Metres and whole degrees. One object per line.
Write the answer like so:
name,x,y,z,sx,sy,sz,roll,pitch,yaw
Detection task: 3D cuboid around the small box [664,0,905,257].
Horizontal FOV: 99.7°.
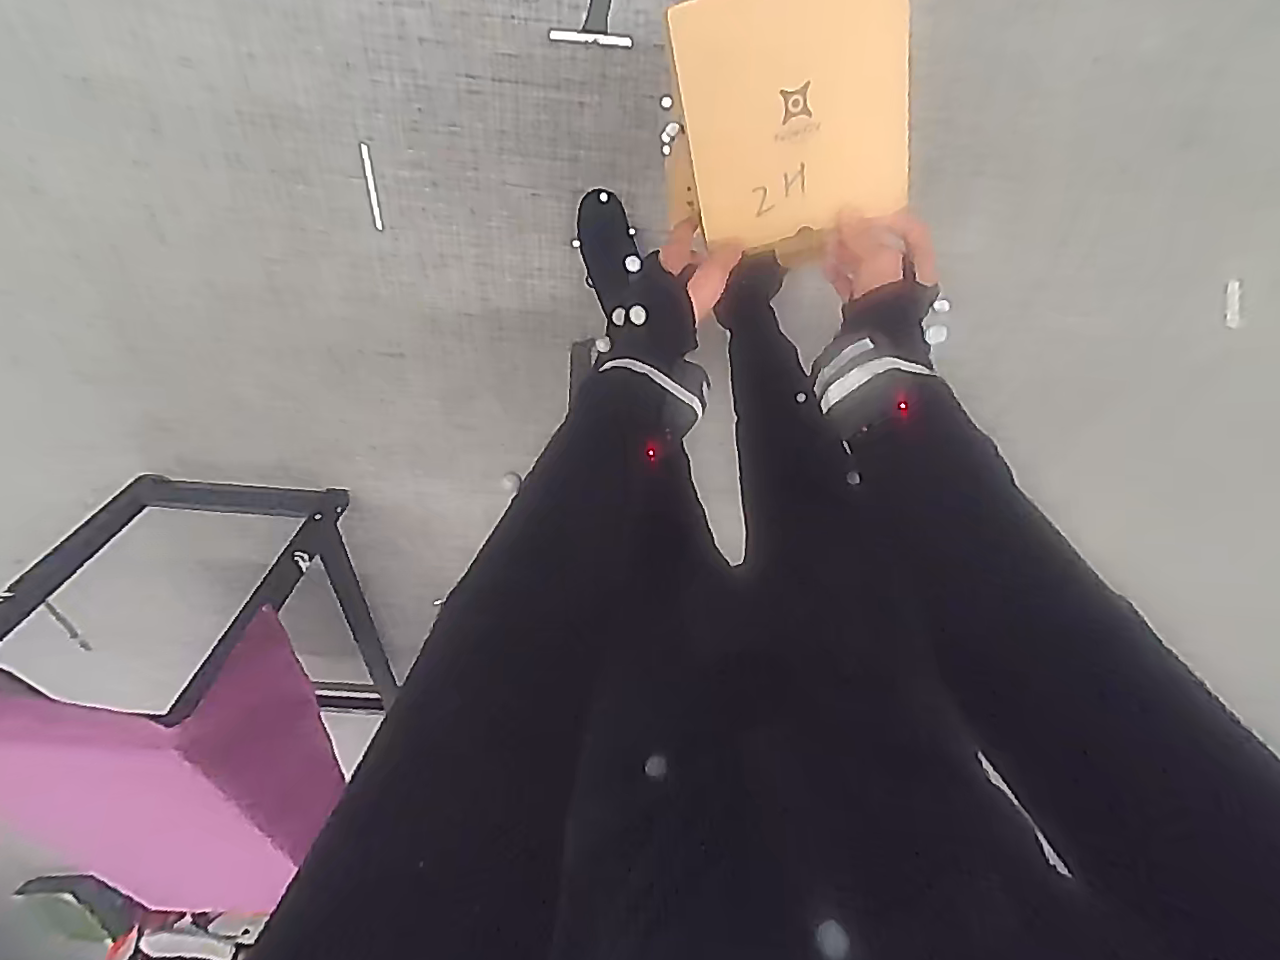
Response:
small box,0.118,-0.327,0.479,0.168,0.176,0.179,-11,128,11
